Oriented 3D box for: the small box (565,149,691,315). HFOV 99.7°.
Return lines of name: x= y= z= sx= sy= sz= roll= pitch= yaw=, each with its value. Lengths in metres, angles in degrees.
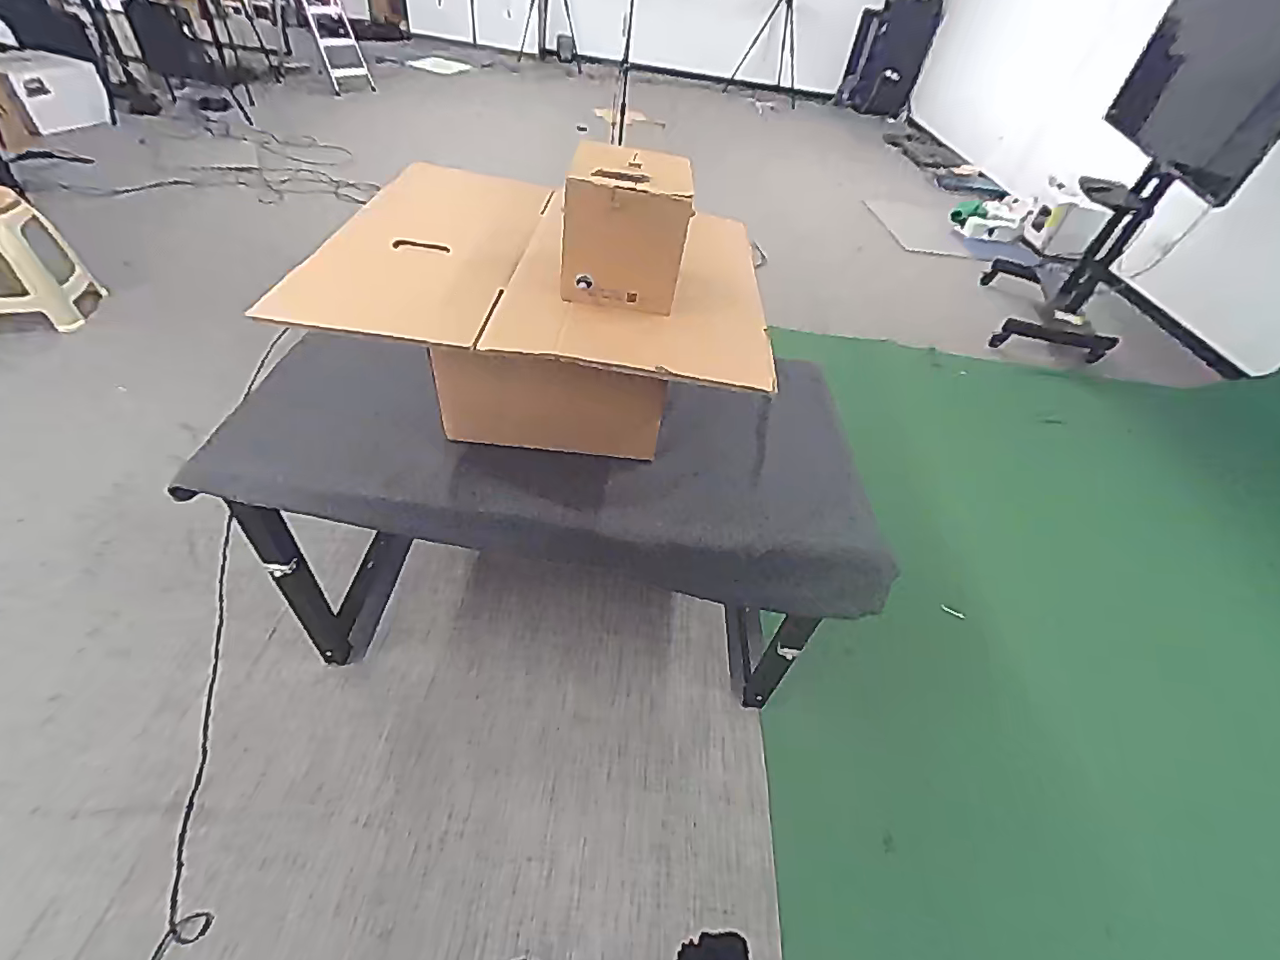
small box: x=-0.020 y=-0.369 z=0.812 sx=0.168 sy=0.176 sz=0.179 roll=8 pitch=44 yaw=-4
